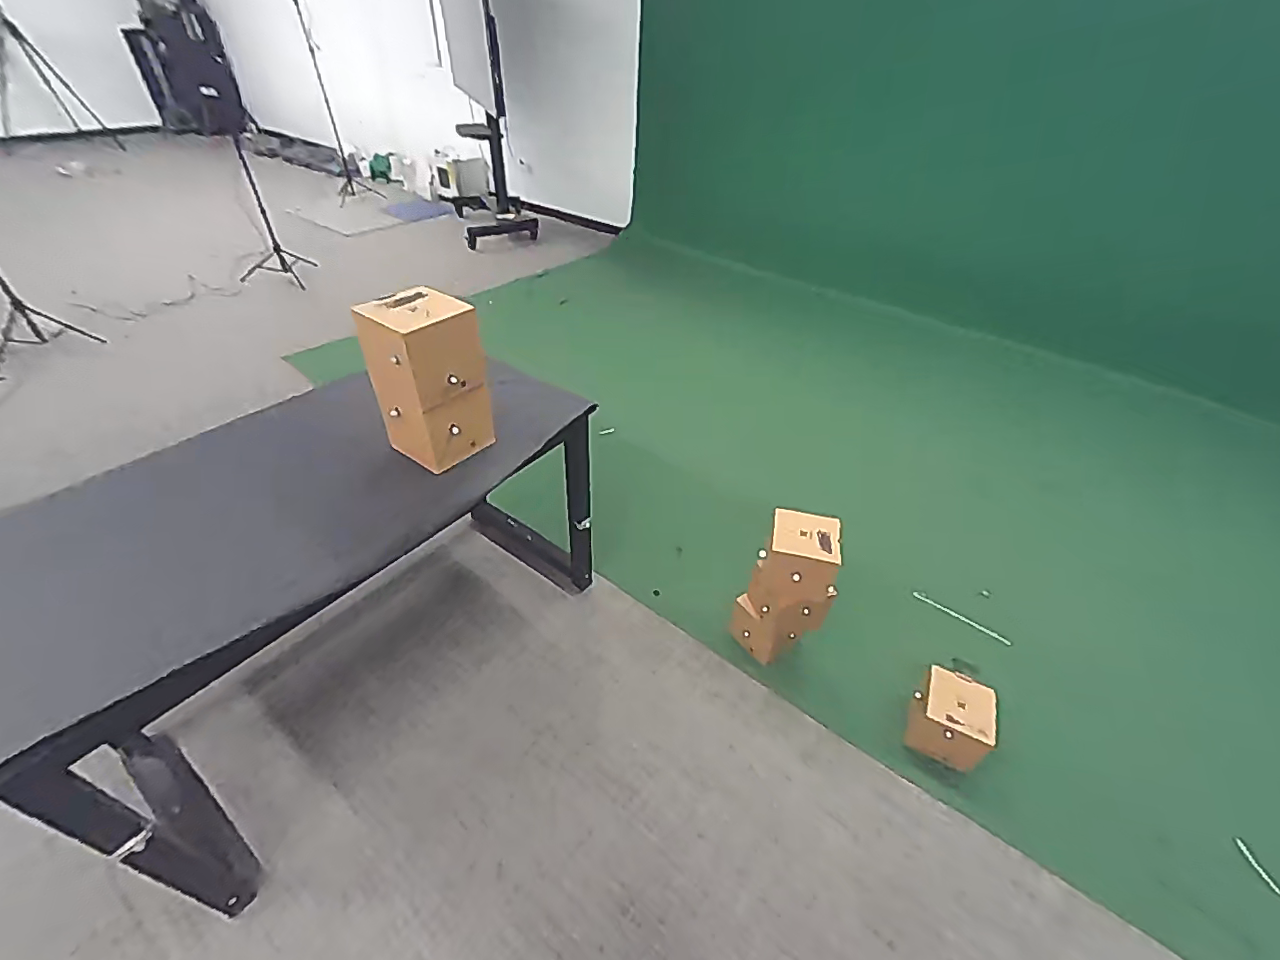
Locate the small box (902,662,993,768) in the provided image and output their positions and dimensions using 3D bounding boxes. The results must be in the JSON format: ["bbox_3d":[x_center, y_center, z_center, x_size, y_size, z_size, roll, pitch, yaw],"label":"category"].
[{"bbox_3d":[0.843,0.647,1.488,0.168,0.176,0.179,21,43,19],"label":"small box"}]

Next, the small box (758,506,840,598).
[{"bbox_3d":[0.432,0.199,1.474,0.179,0.176,0.168,11,43,9],"label":"small box"}]

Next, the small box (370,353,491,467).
[{"bbox_3d":[-0.453,-0.151,1.196,0.179,0.176,0.168,27,46,26],"label":"small box"}]

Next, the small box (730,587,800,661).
[{"bbox_3d":[0.401,0.433,1.702,0.179,0.176,0.168,-24,48,-28],"label":"small box"}]

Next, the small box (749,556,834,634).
[{"bbox_3d":[0.431,0.327,1.578,0.179,0.176,0.168,-8,44,-14],"label":"small box"}]
